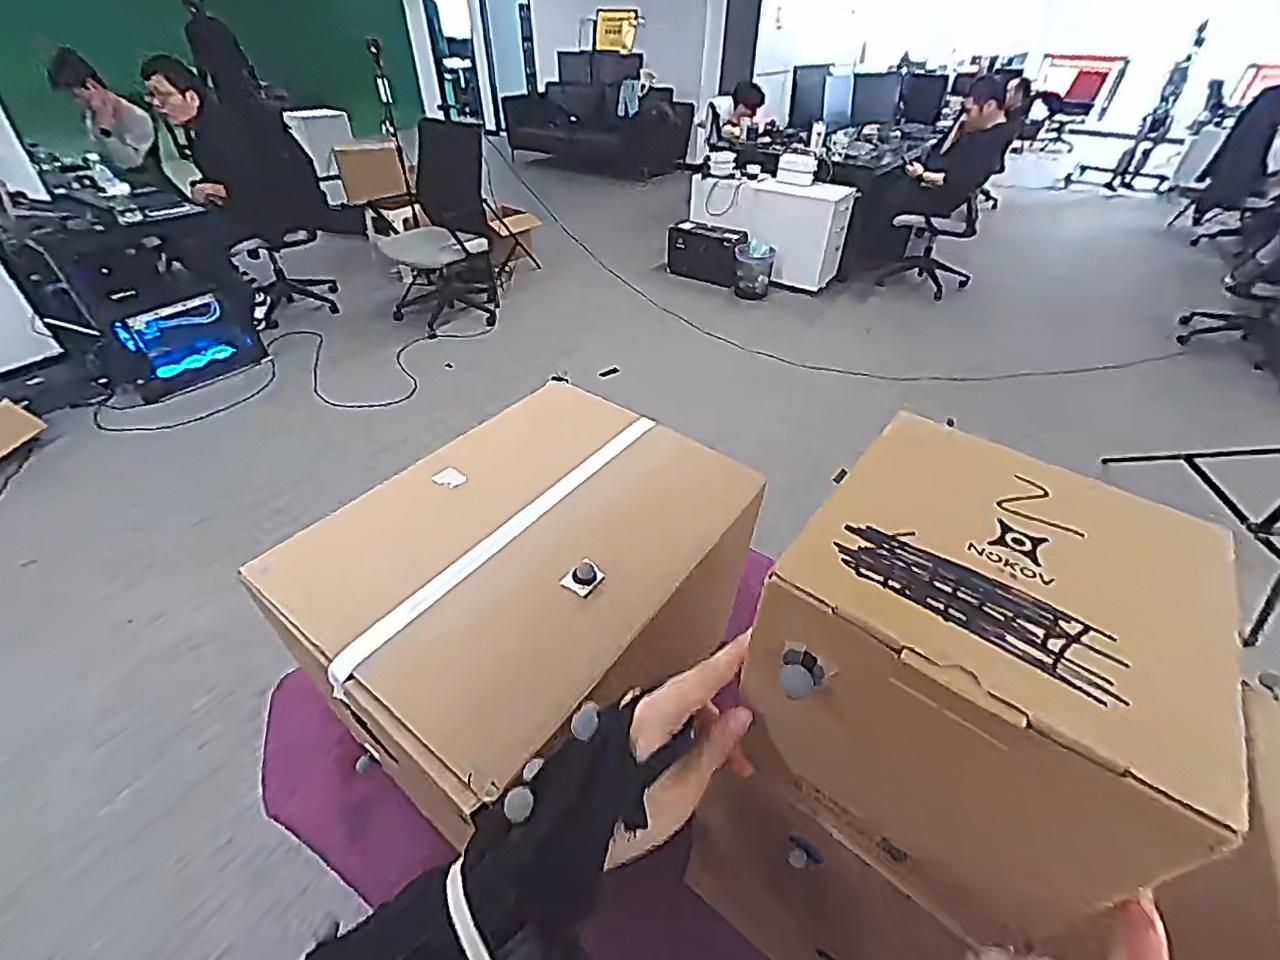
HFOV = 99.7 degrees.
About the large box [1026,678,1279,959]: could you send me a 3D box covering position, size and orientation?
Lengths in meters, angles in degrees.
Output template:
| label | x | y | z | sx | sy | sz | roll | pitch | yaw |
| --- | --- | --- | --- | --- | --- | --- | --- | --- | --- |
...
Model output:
| label | x | y | z | sx | sy | sz | roll | pitch | yaw |
| --- | --- | --- | --- | --- | --- | --- | --- | --- | --- |
| large box | 0.461 | 0.424 | 0.318 | 0.320 | 0.320 | 0.408 | 25 | 44 | 25 |
